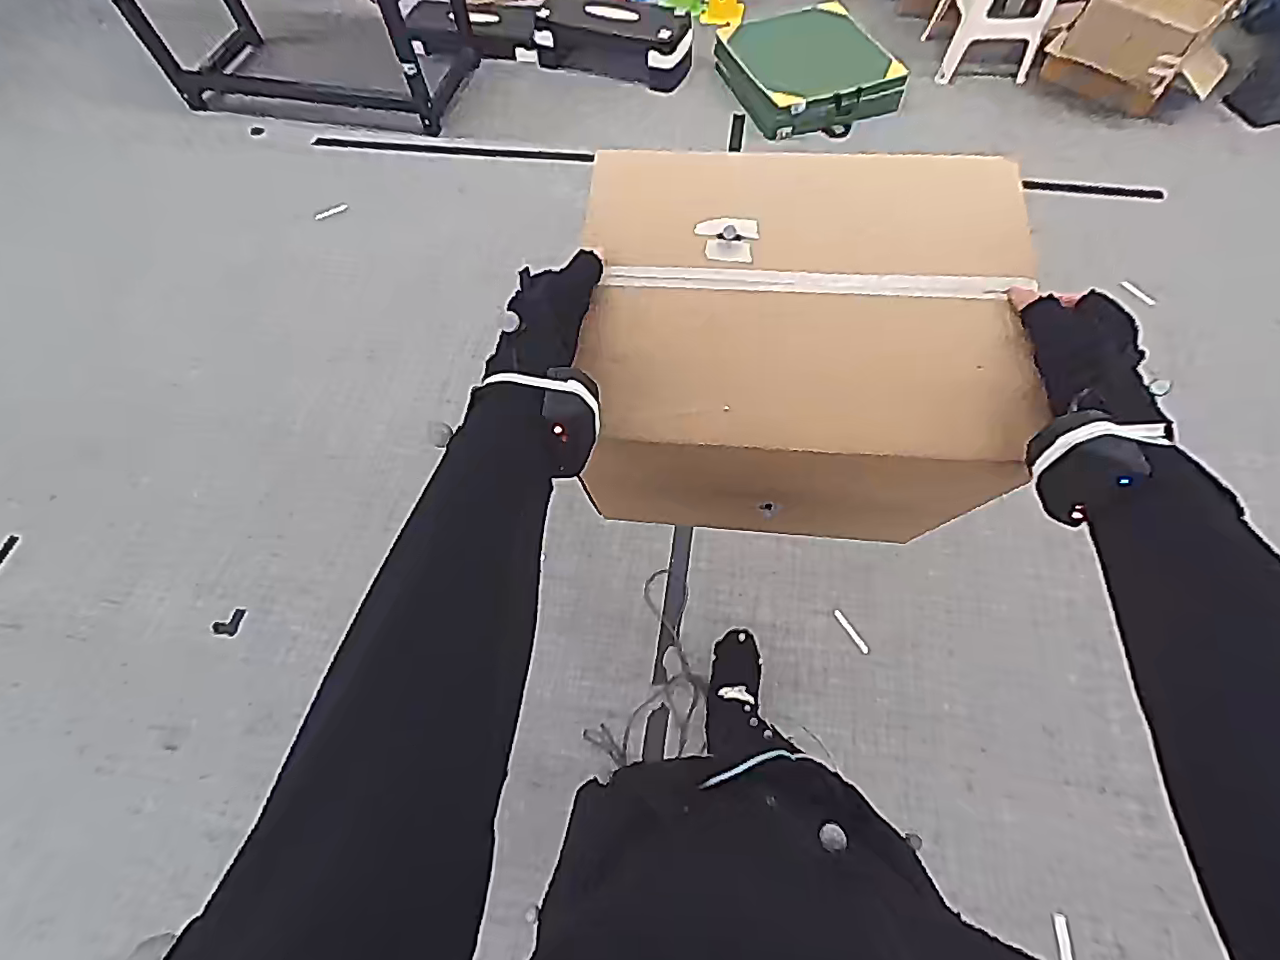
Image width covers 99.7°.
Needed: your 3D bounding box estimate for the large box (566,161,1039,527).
[{"bbox_3d":[0.156,-0.132,0.645,0.408,0.320,0.320,4,72,6],"label":"large box"}]
